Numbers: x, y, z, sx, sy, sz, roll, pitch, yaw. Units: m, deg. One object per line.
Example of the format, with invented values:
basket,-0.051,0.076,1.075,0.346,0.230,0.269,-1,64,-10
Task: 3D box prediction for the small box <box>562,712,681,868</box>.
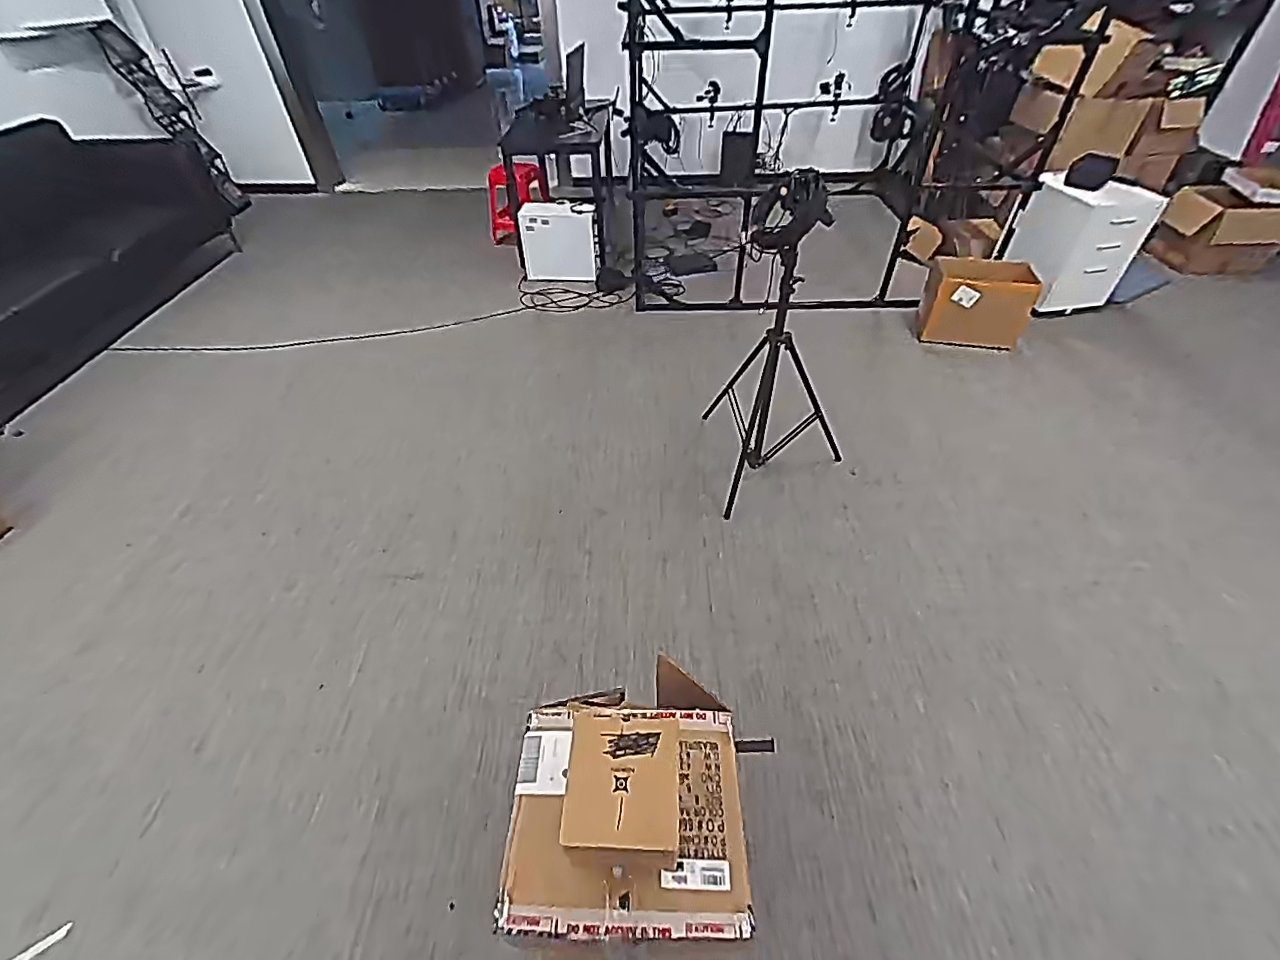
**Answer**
small box,-0.021,0.487,0.851,0.168,0.176,0.179,1,48,3
